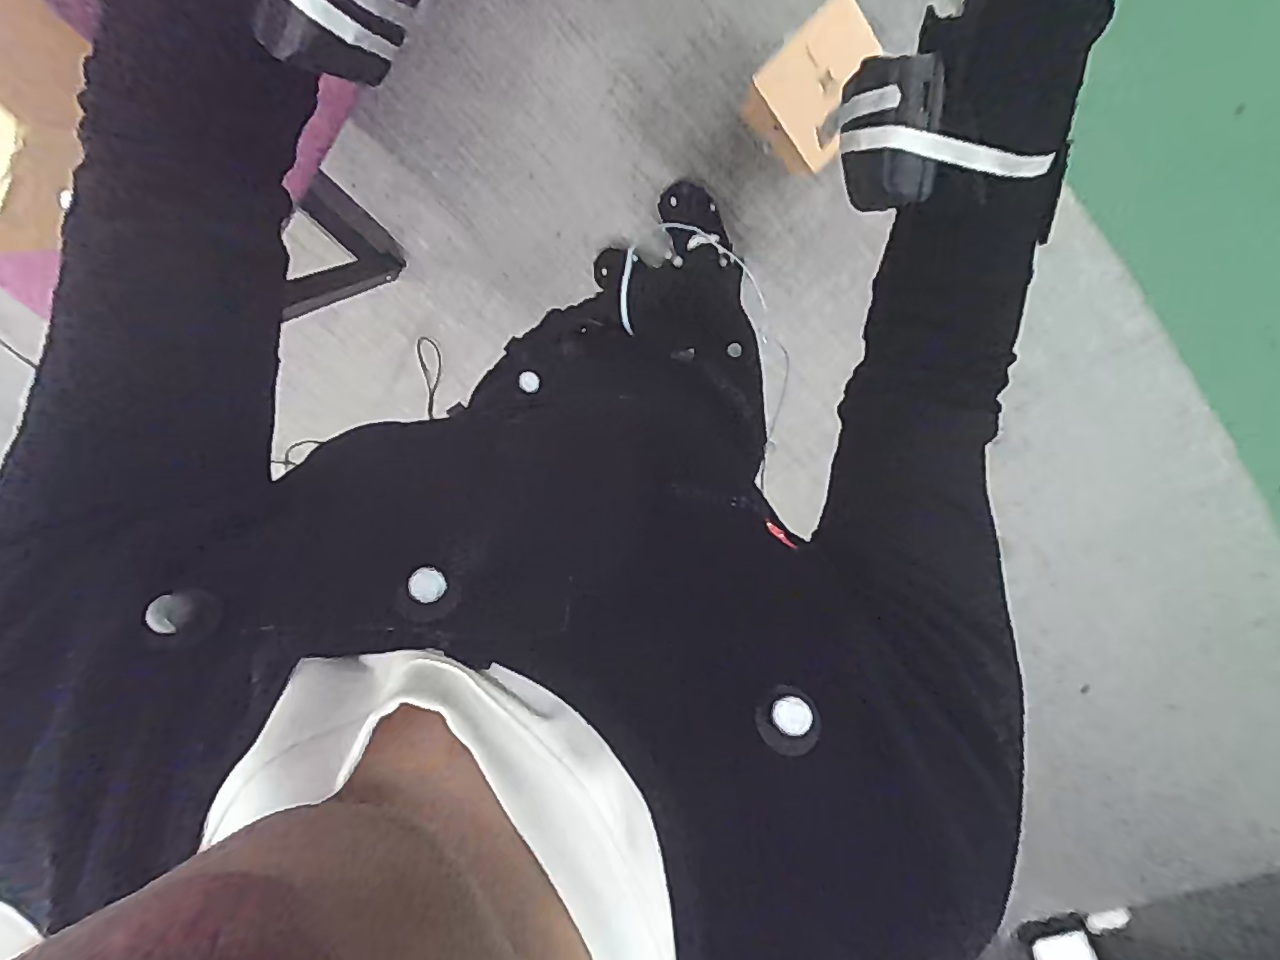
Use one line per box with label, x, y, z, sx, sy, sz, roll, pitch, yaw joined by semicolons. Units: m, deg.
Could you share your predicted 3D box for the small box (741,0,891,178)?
small box;0.287;-0.647;0.911;0.168;0.176;0.179;-35;110;24
